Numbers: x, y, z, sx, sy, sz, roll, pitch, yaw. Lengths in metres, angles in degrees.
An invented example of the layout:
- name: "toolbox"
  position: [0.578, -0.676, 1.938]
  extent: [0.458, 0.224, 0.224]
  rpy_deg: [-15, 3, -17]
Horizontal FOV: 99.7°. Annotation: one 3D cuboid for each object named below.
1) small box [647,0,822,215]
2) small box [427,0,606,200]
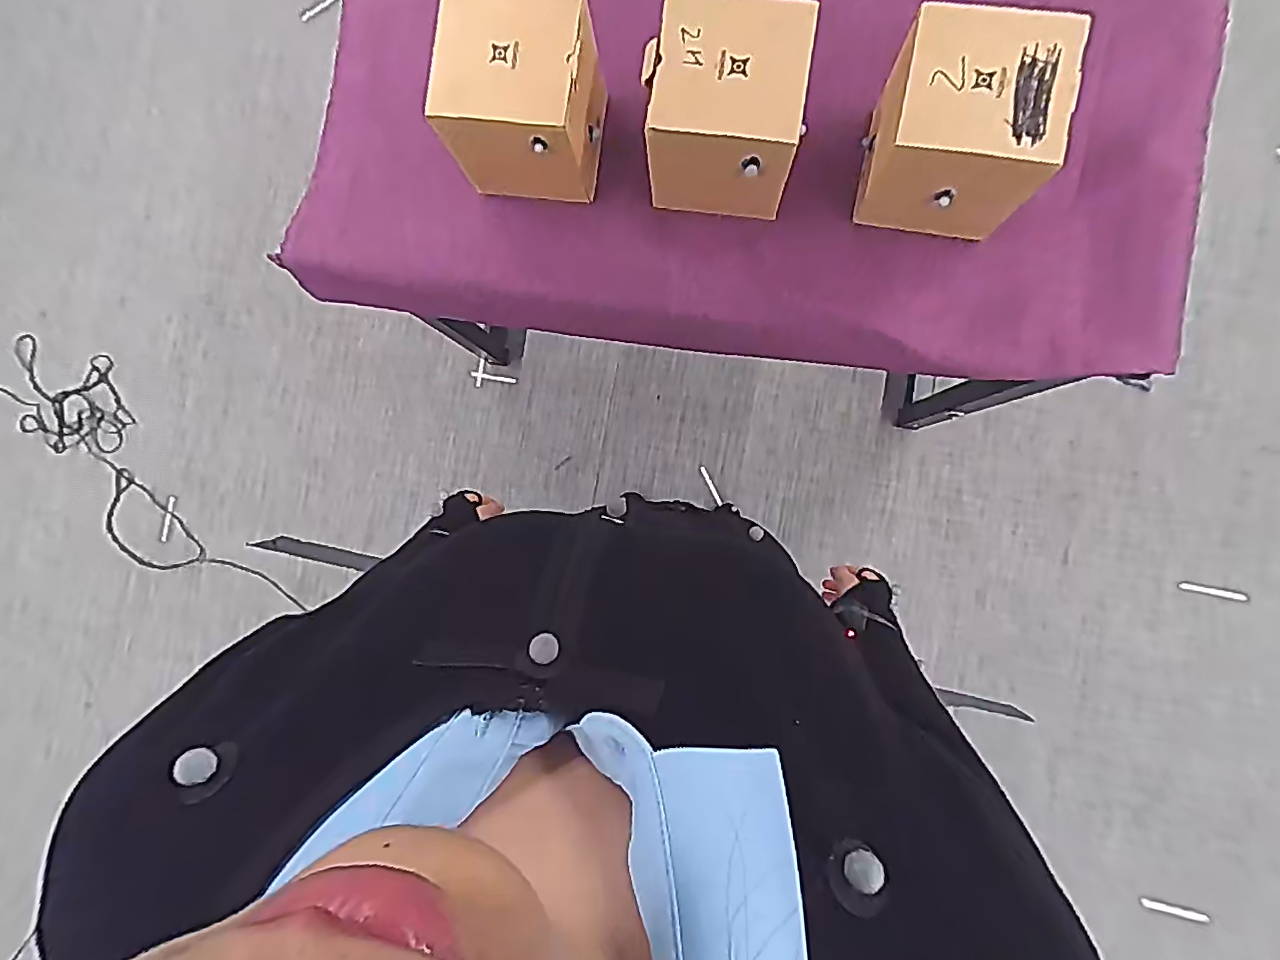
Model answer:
- name: "small box"
  position: [0.113, -0.462, 0.687]
  extent: [0.179, 0.176, 0.168]
  rpy_deg: [9, 88, 6]
- name: "small box"
  position: [-0.151, -0.497, 0.714]
  extent: [0.179, 0.176, 0.168]
  rpy_deg: [7, 89, 5]
